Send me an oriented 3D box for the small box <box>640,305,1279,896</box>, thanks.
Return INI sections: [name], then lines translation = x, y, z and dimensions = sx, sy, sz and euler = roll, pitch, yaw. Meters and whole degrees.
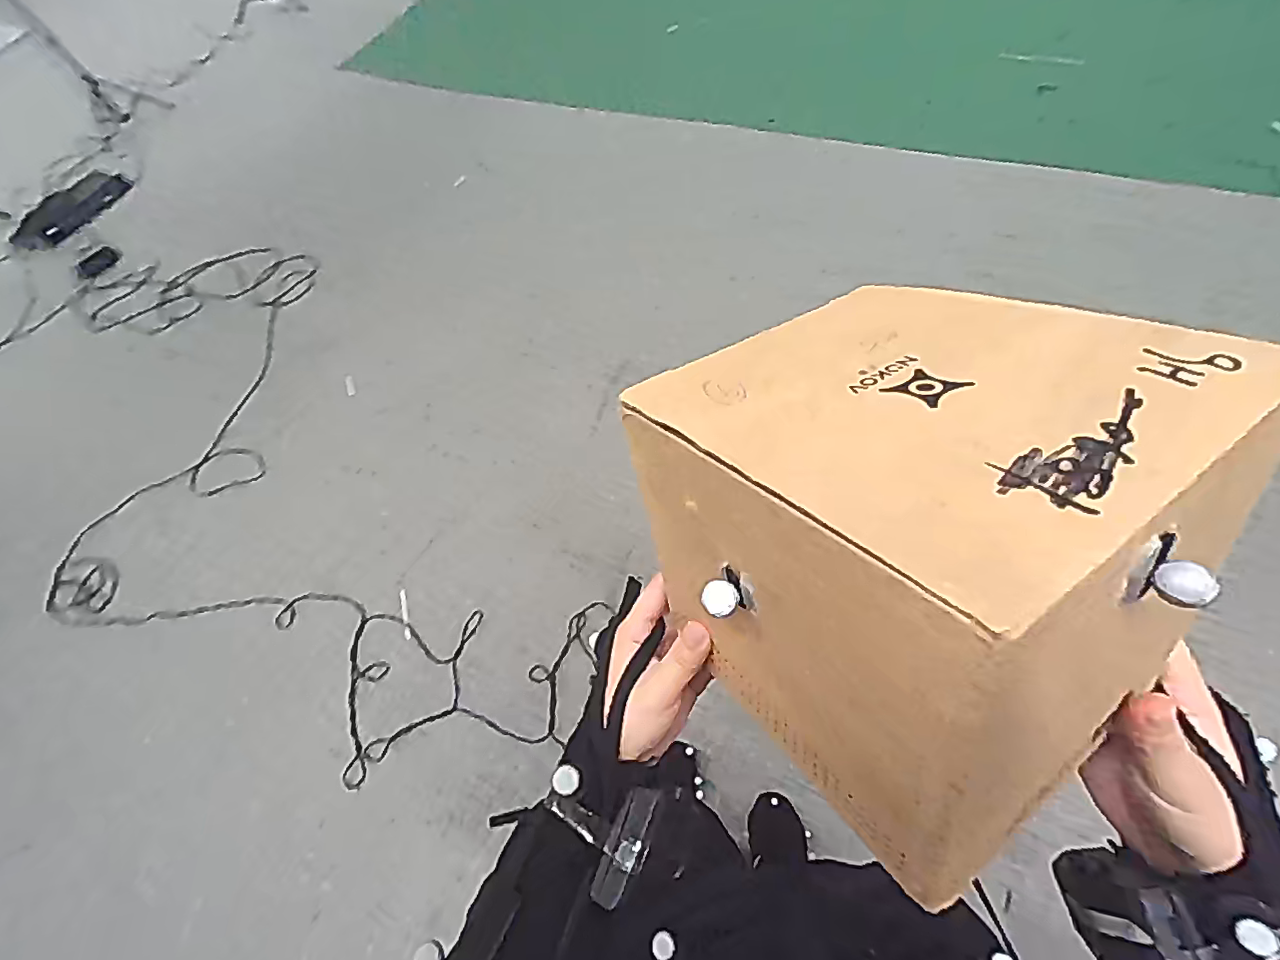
[small box]
translation = 0.124, 0.036, 0.255
dimensions = 0.168, 0.176, 0.179
euler = -29, 37, -19
